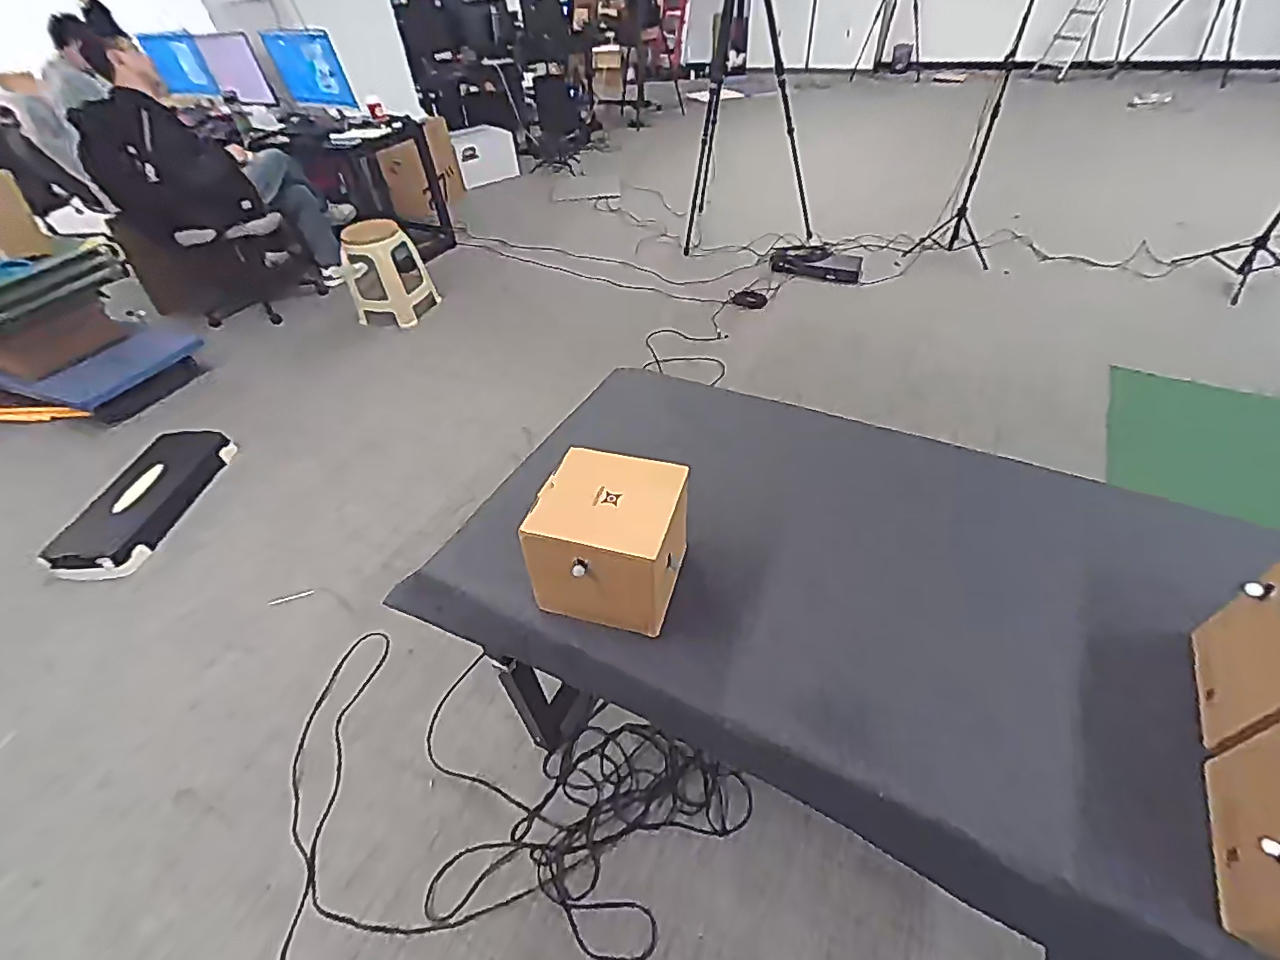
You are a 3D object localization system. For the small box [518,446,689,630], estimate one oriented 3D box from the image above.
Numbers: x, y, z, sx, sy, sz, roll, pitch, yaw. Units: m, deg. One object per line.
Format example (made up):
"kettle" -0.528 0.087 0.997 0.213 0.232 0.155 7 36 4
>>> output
"small box" -0.037 0.080 0.735 0.179 0.176 0.168 10 45 15
